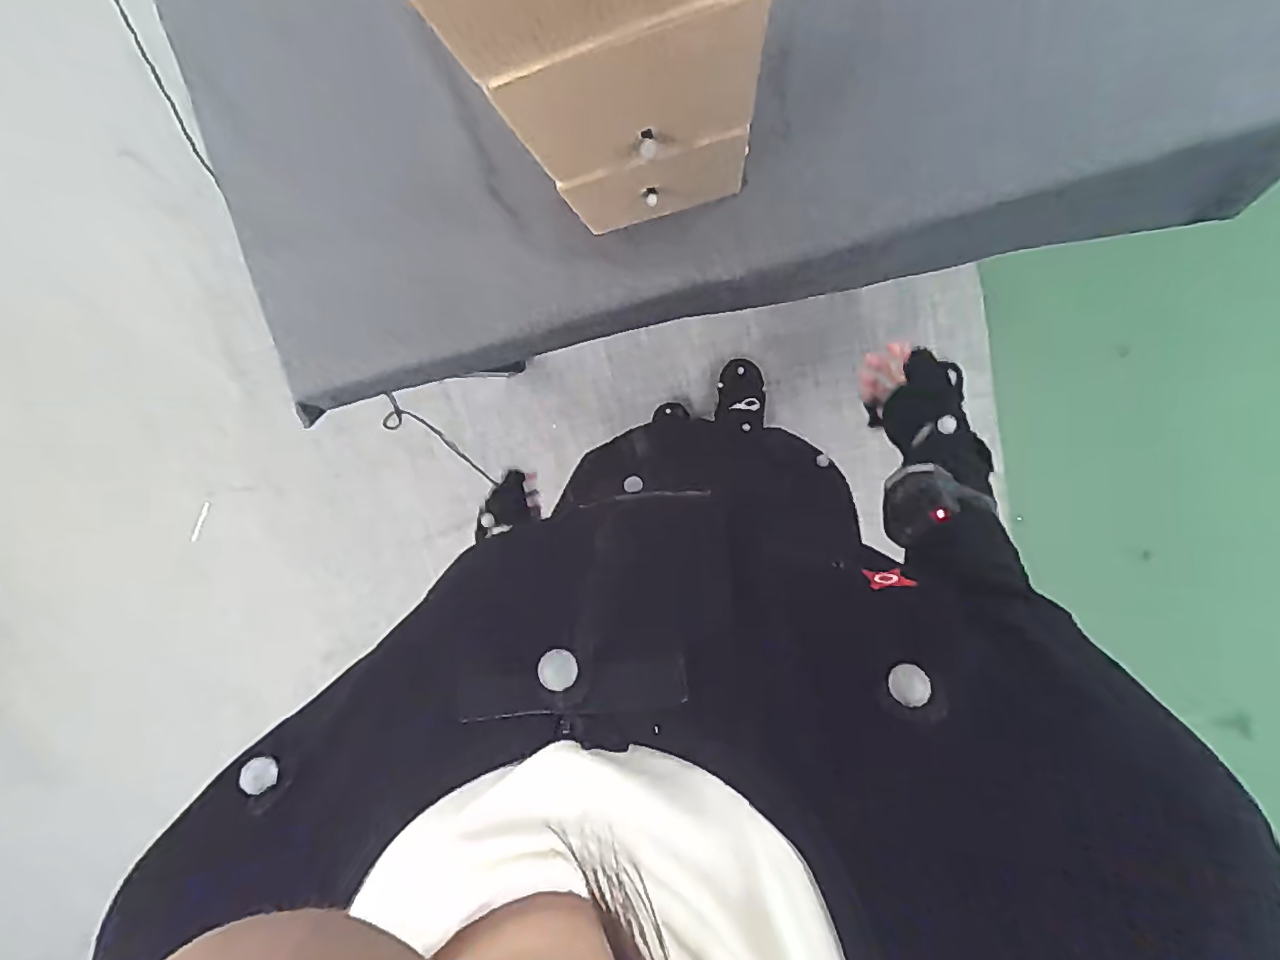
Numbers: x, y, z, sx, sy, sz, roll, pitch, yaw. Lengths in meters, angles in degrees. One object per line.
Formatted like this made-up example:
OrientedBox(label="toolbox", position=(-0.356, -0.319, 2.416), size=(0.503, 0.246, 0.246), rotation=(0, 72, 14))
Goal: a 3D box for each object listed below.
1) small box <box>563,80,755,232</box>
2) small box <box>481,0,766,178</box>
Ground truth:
OrientedBox(label="small box", position=(0.002, -0.374, 0.540), size=(0.179, 0.176, 0.168), rotation=(-15, 99, 9))
OrientedBox(label="small box", position=(-0.021, -0.345, 0.381), size=(0.179, 0.176, 0.168), rotation=(-12, 99, 9))
